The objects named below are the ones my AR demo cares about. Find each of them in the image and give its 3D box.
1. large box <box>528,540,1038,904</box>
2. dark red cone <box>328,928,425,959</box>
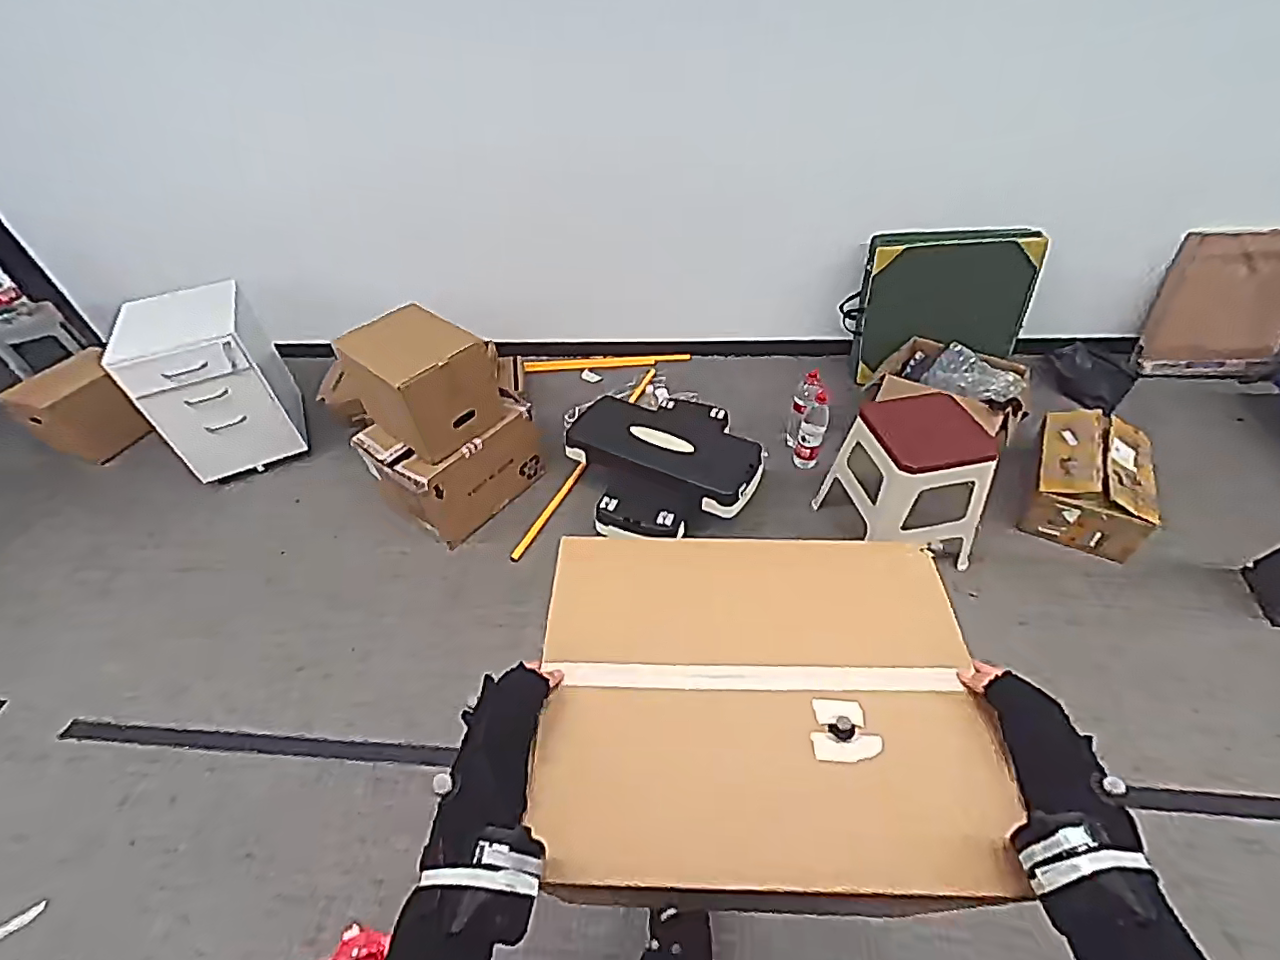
[{"bbox_3d":[0.111,0.283,0.624,0.408,0.320,0.320,1,49,1],"label":"large box"},{"bbox_3d":[-0.553,0.903,0.943,0.201,0.394,0.202,6,46,9],"label":"dark red cone"}]
